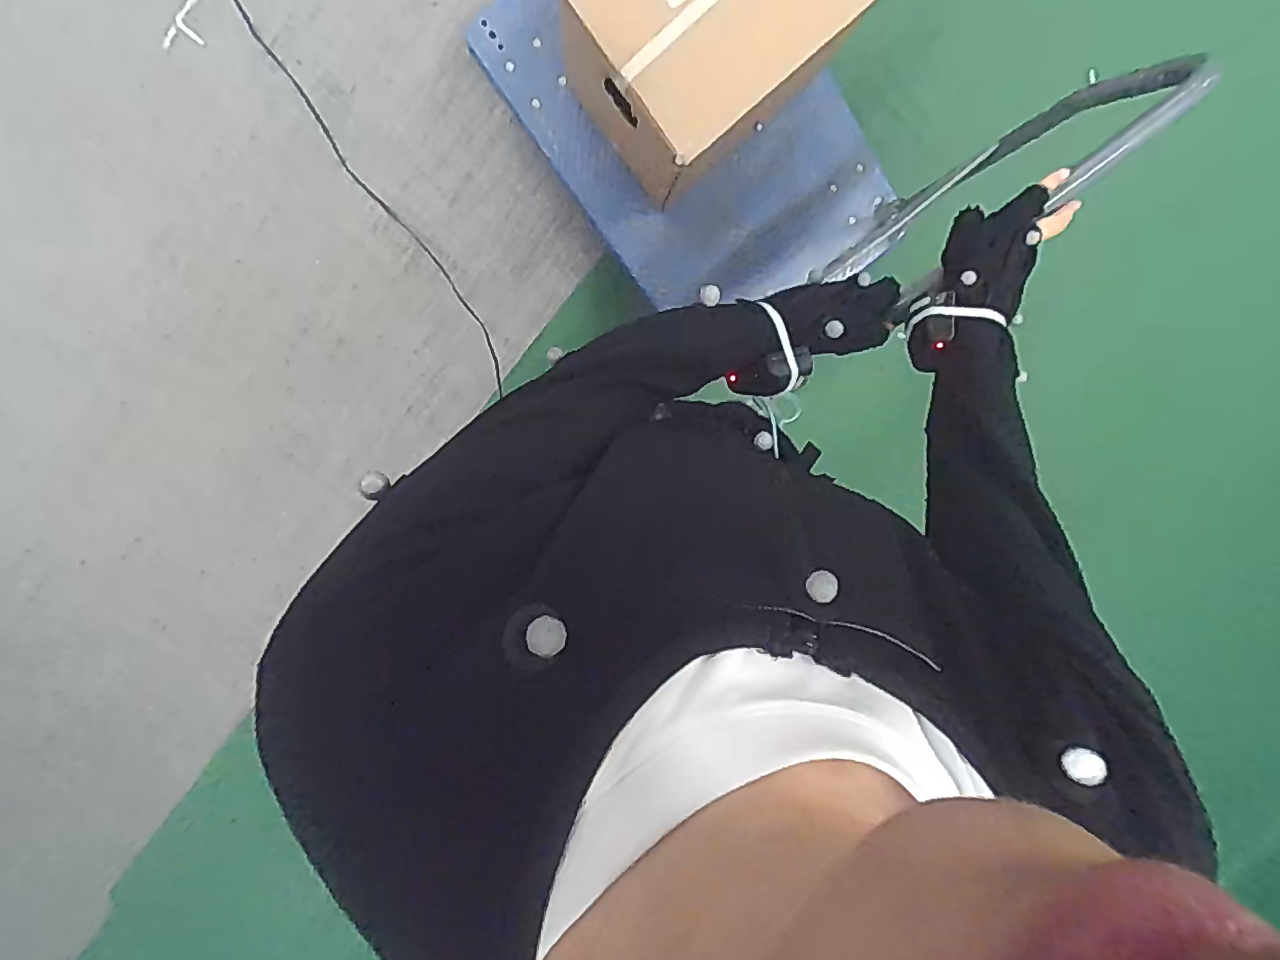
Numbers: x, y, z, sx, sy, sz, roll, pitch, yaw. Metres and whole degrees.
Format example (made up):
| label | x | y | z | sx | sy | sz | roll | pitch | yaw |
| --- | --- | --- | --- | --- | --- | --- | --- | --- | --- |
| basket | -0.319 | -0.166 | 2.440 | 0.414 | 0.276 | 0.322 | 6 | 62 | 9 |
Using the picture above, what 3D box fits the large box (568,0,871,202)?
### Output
| label | x | y | z | sx | sy | sz | roll | pitch | yaw |
| --- | --- | --- | --- | --- | --- | --- | --- | --- | --- |
| large box | 0.122 | -0.792 | 0.965 | 0.408 | 0.320 | 0.320 | -39 | 103 | 6 |
